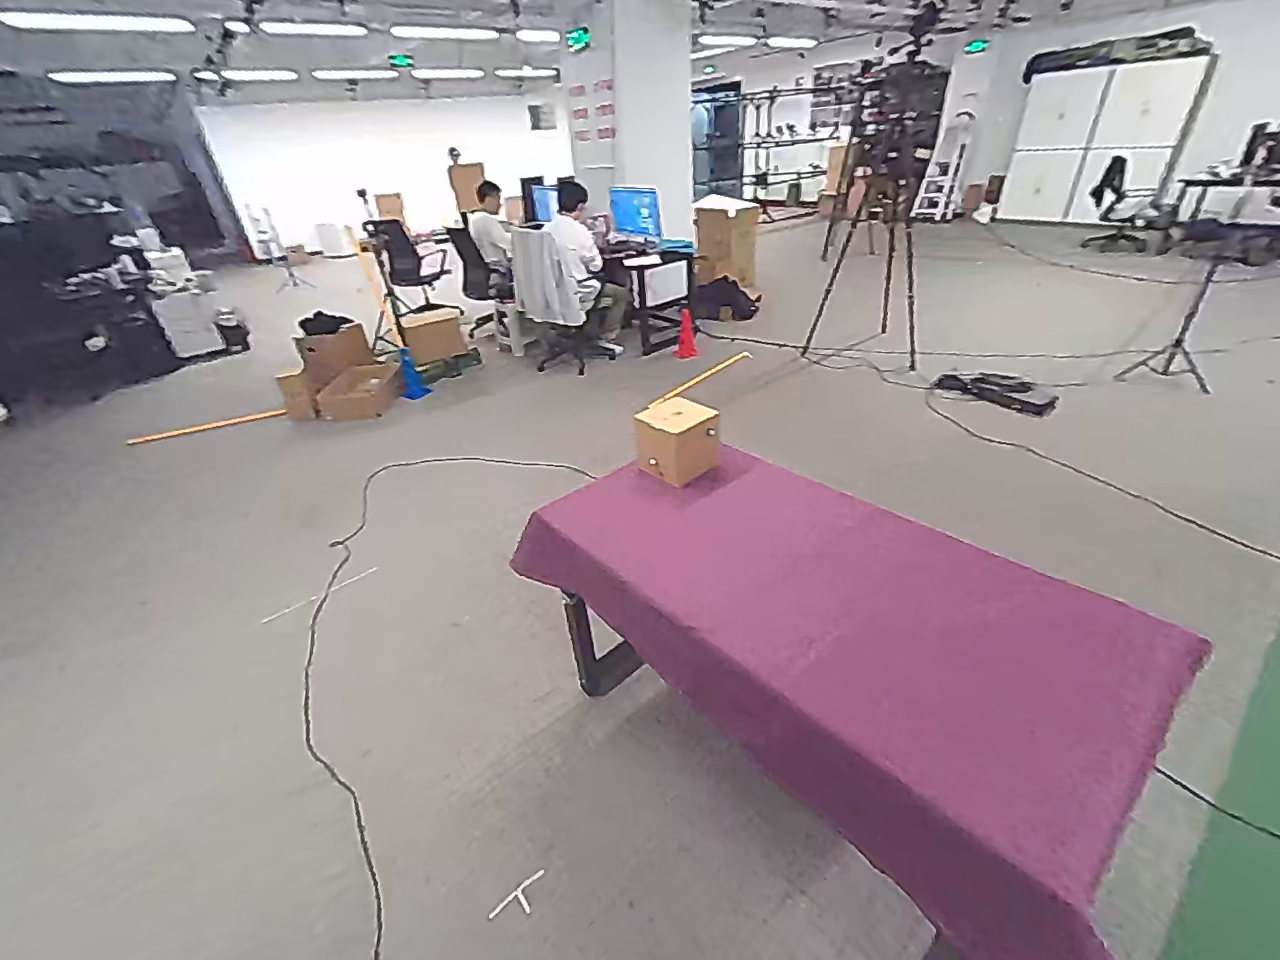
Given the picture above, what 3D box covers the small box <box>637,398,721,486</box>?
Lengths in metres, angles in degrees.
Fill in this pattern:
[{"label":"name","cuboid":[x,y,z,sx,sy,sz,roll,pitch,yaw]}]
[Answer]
[{"label":"small box","cuboid":[0.109,-0.109,1.524,0.179,0.176,0.168,-28,39,-32]}]
